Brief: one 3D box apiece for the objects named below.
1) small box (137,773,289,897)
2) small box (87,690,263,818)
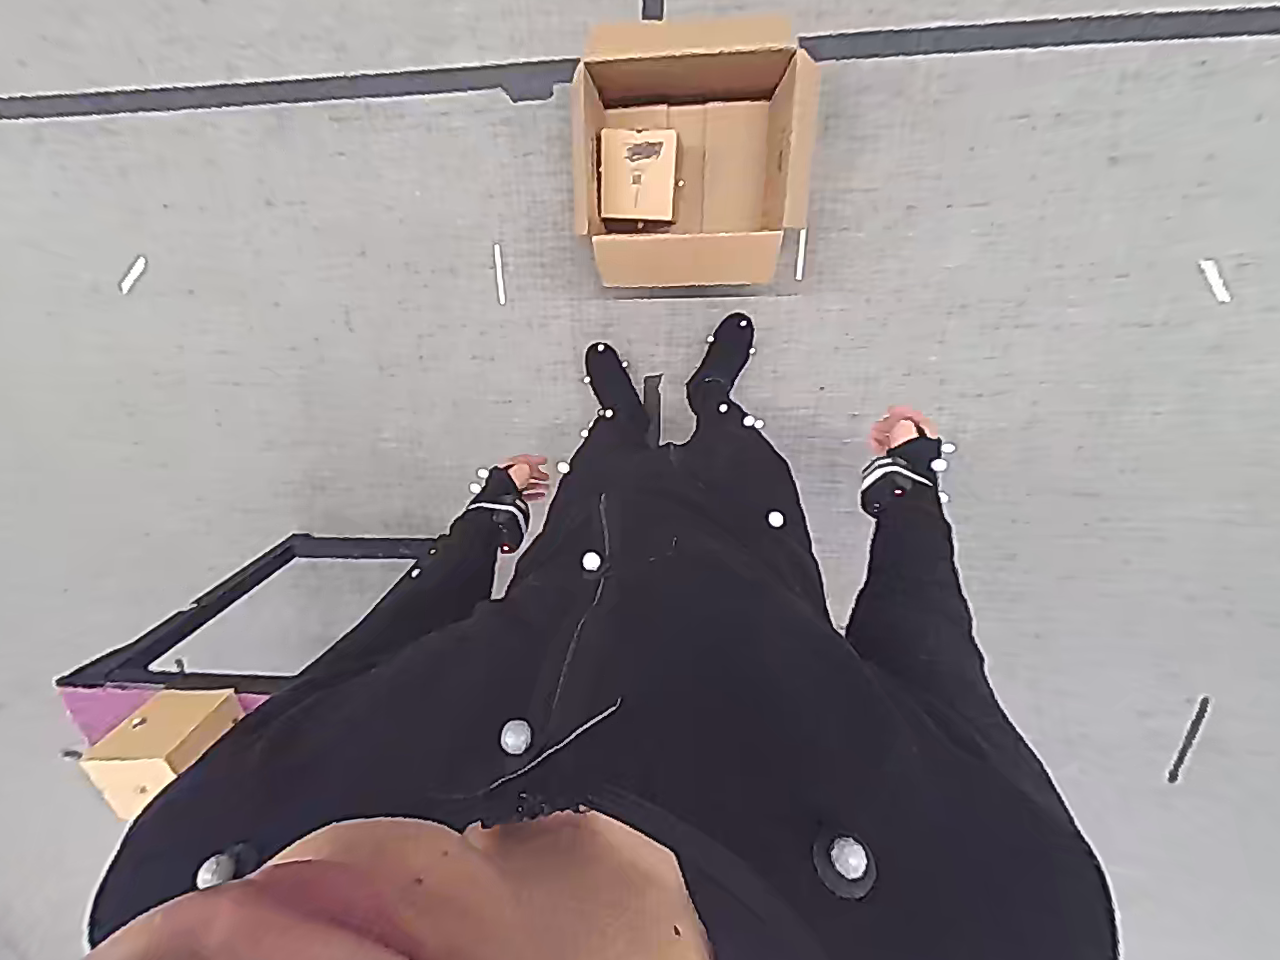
[{"bbox_3d":[-0.907,0.764,1.175,0.179,0.176,0.168,-5,111,8],"label":"small box"},{"bbox_3d":[-0.918,0.542,1.086,0.179,0.176,0.168,-3,114,7],"label":"small box"}]
